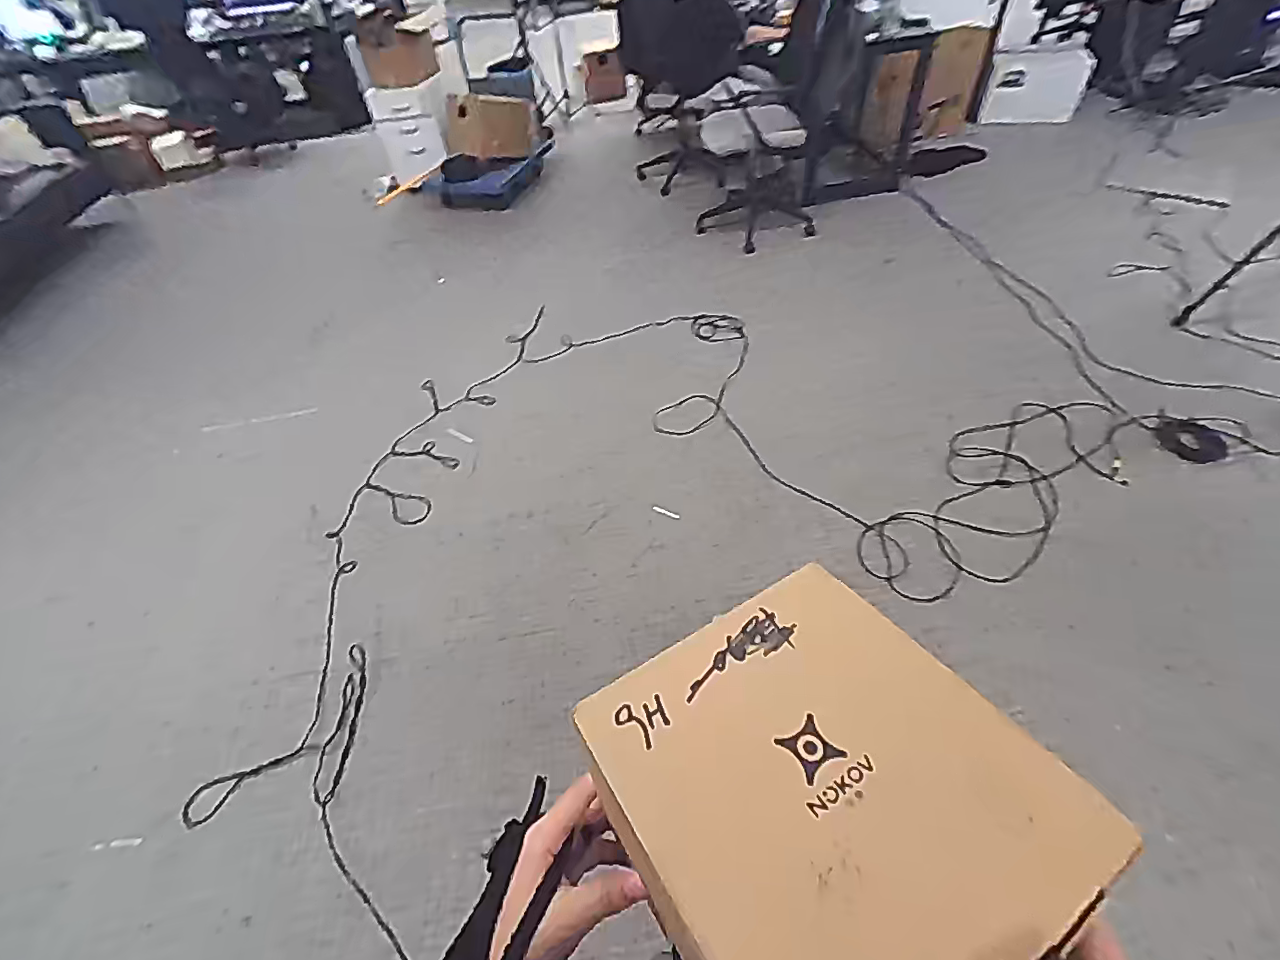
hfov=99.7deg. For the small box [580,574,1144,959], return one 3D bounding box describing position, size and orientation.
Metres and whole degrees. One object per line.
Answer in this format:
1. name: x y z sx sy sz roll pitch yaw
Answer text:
1. small box: 0.088 0.191 0.289 0.168 0.176 0.179 -24 43 -20
